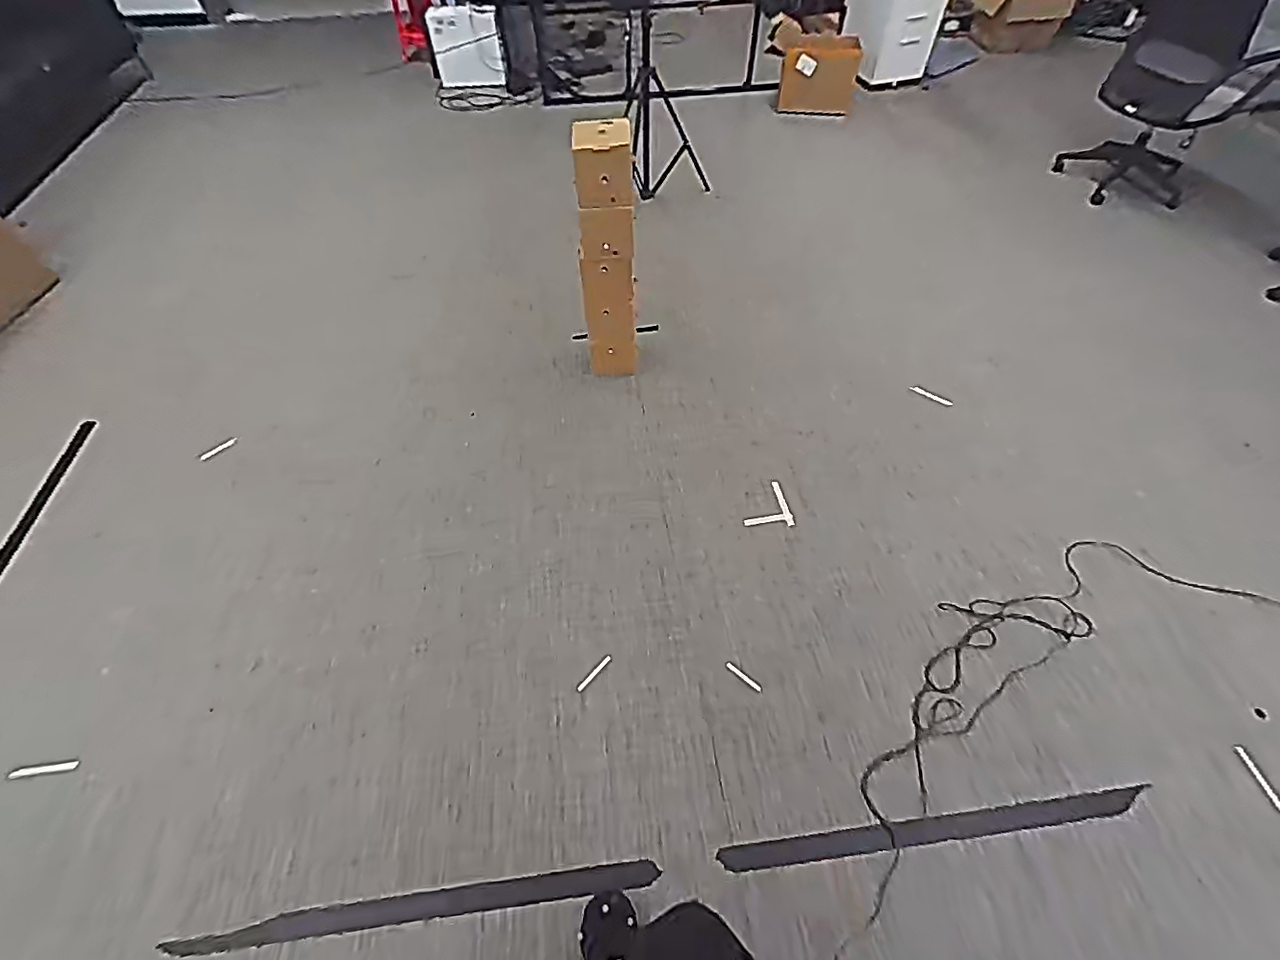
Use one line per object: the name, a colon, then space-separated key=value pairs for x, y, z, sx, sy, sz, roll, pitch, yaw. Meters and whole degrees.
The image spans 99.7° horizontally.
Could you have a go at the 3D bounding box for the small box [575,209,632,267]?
small box: x=-0.112 y=-0.805 z=1.726 sx=0.168 sy=0.176 sz=0.179 roll=-2 pitch=55 yaw=1

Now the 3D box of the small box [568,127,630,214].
small box: x=-0.117 y=-0.908 z=1.599 sx=0.168 sy=0.176 sz=0.179 roll=-4 pitch=55 yaw=0

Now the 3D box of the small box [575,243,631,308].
small box: x=-0.122 y=-0.710 z=1.860 sx=0.179 sy=0.176 sz=0.168 roll=-1 pitch=55 yaw=0

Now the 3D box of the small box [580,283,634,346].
small box: x=-0.117 y=-0.608 z=1.986 sx=0.179 sy=0.176 sz=0.168 roll=1 pitch=55 yaw=2

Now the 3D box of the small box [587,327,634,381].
small box: x=-0.112 y=-0.504 z=2.114 sx=0.179 sy=0.176 sz=0.168 roll=-2 pitch=54 yaw=0
